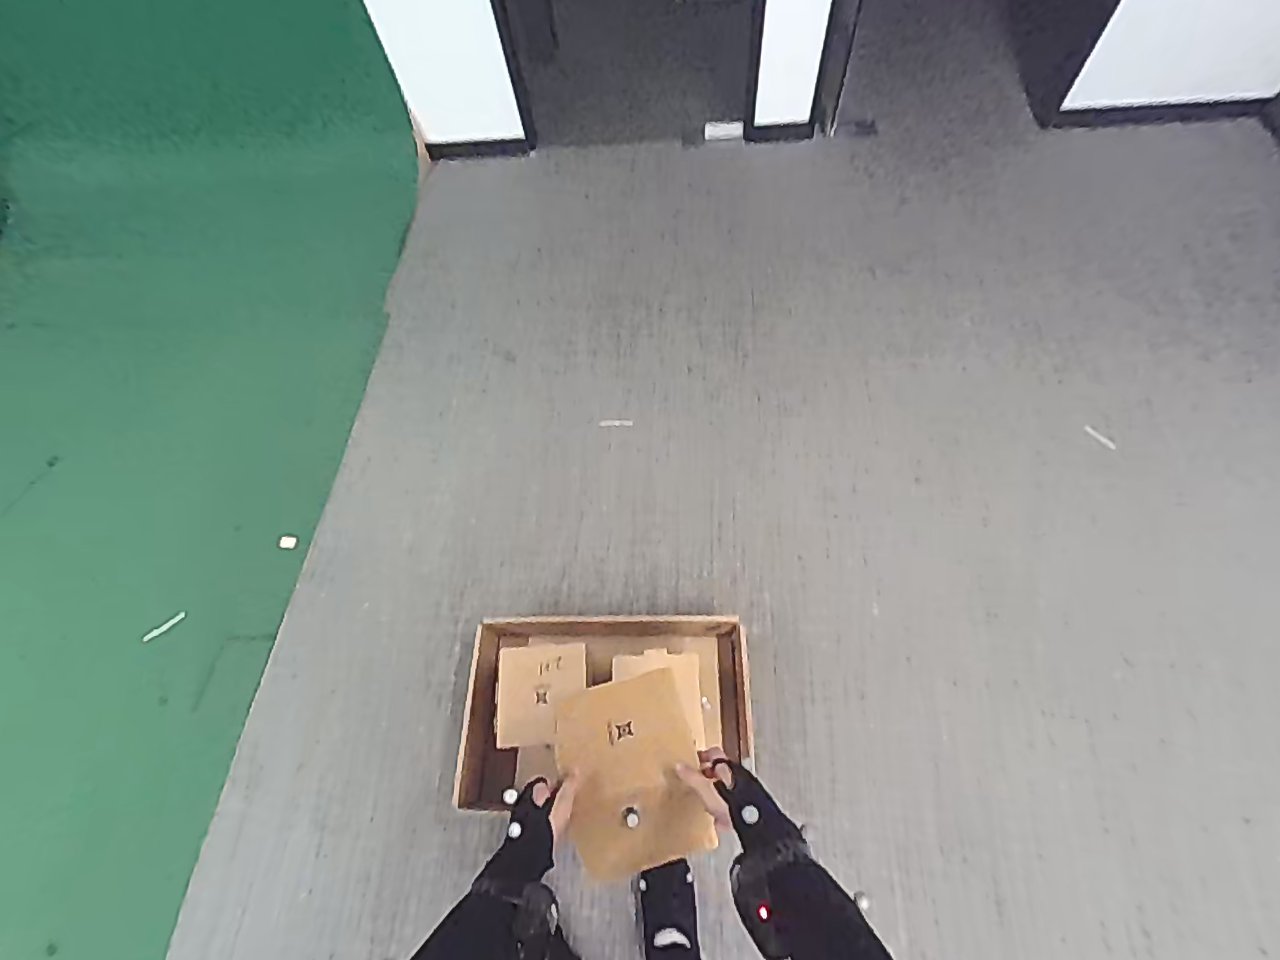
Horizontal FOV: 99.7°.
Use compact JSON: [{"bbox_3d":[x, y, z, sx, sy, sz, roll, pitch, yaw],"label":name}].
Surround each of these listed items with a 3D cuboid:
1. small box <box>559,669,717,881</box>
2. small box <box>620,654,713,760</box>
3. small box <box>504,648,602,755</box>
[{"bbox_3d":[-0.002,0.395,0.733,0.179,0.176,0.168,-16,28,-3],"label":"small box"},{"bbox_3d":[0.053,0.446,1.050,0.168,0.176,0.179,-5,62,5],"label":"small box"},{"bbox_3d":[-0.165,0.441,1.077,0.168,0.176,0.179,-5,64,1],"label":"small box"}]
